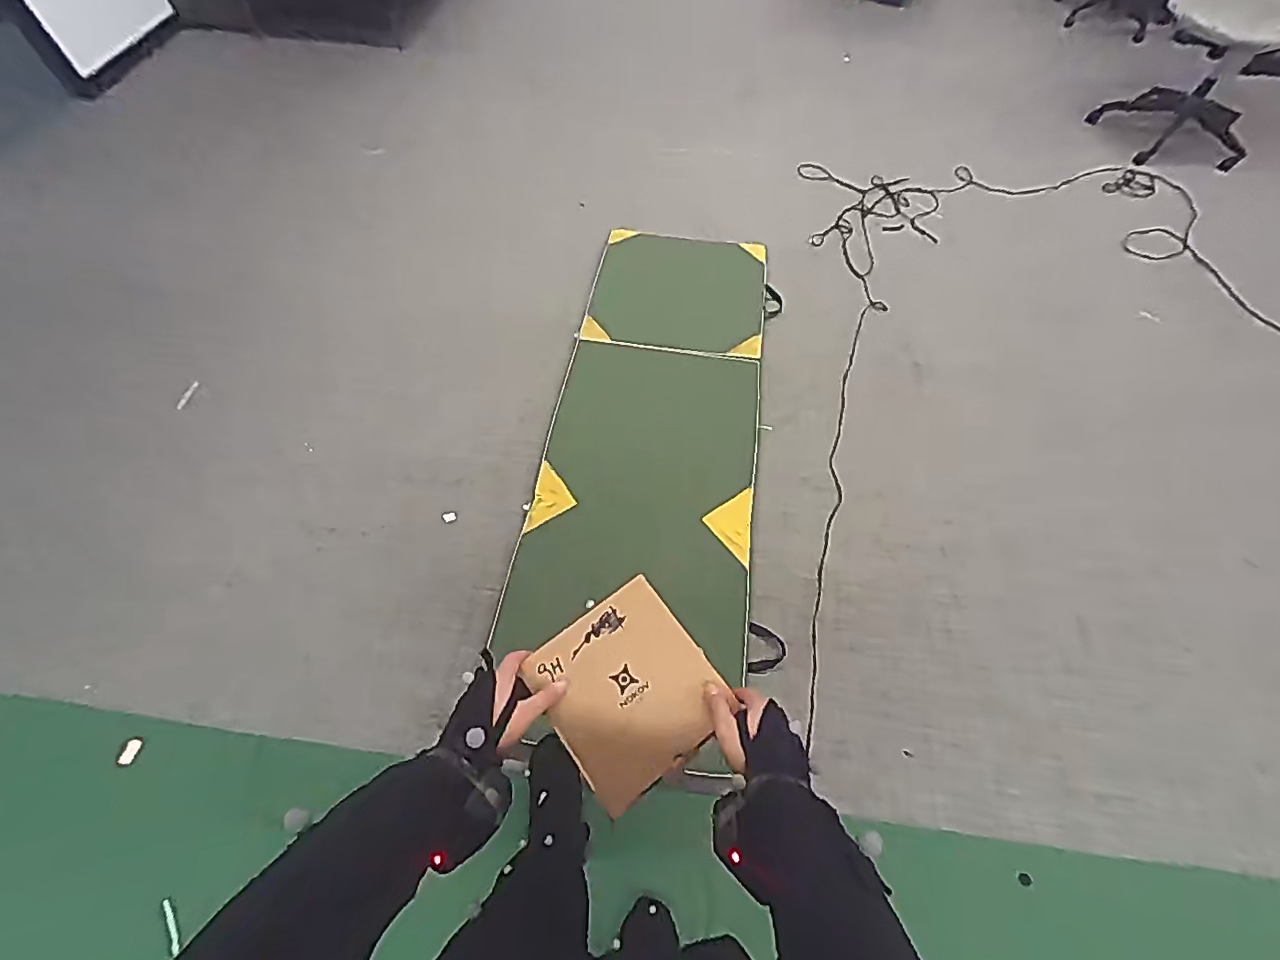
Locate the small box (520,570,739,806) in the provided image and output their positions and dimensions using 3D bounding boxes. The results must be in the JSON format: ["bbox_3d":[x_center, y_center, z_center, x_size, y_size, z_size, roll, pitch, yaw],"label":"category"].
[{"bbox_3d":[-0.013,0.237,0.634,0.168,0.176,0.179,-34,71,-15],"label":"small box"}]
